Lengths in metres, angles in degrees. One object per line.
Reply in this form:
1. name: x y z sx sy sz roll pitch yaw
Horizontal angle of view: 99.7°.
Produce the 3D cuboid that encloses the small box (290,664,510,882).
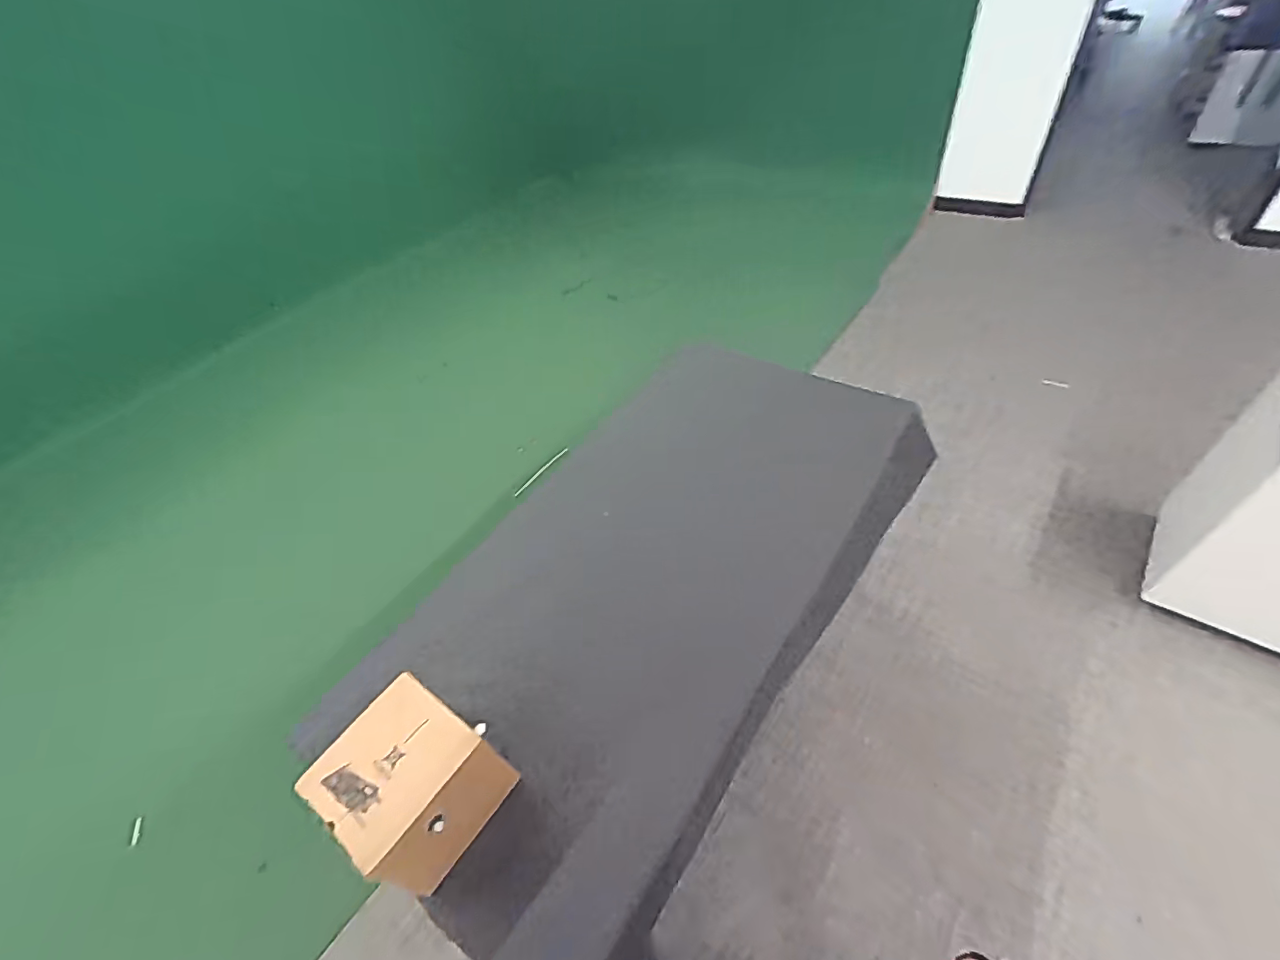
1. small box: -0.302 0.390 0.717 0.168 0.176 0.179 25 56 27
